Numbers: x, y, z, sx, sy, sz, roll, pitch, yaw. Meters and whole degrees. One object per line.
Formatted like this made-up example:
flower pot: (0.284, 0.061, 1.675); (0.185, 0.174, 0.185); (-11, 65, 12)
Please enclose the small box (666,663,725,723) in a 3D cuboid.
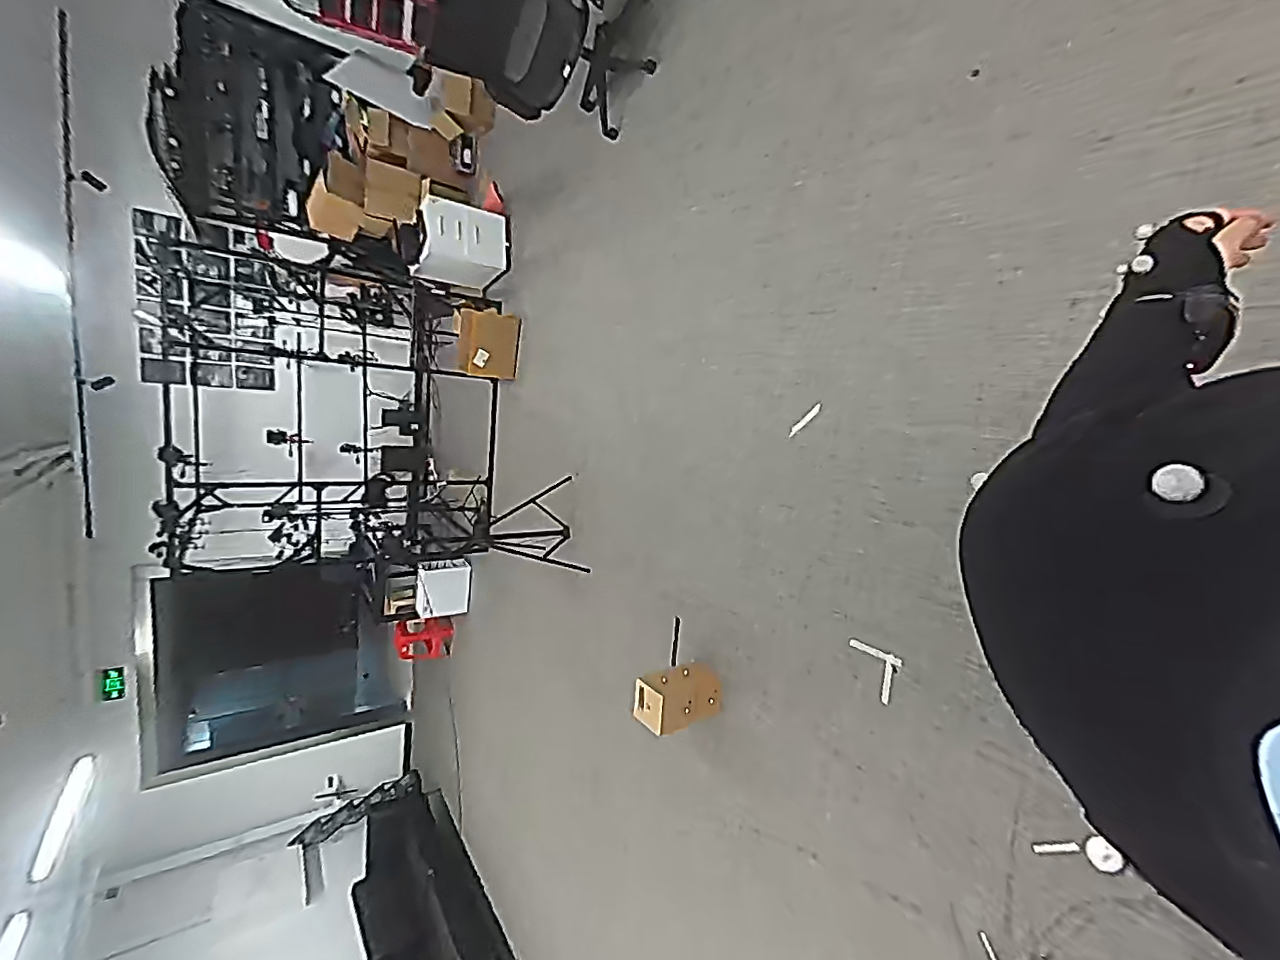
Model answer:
small box: (0.231, 0.882, 2.263); (0.179, 0.176, 0.168); (8, 97, 54)
